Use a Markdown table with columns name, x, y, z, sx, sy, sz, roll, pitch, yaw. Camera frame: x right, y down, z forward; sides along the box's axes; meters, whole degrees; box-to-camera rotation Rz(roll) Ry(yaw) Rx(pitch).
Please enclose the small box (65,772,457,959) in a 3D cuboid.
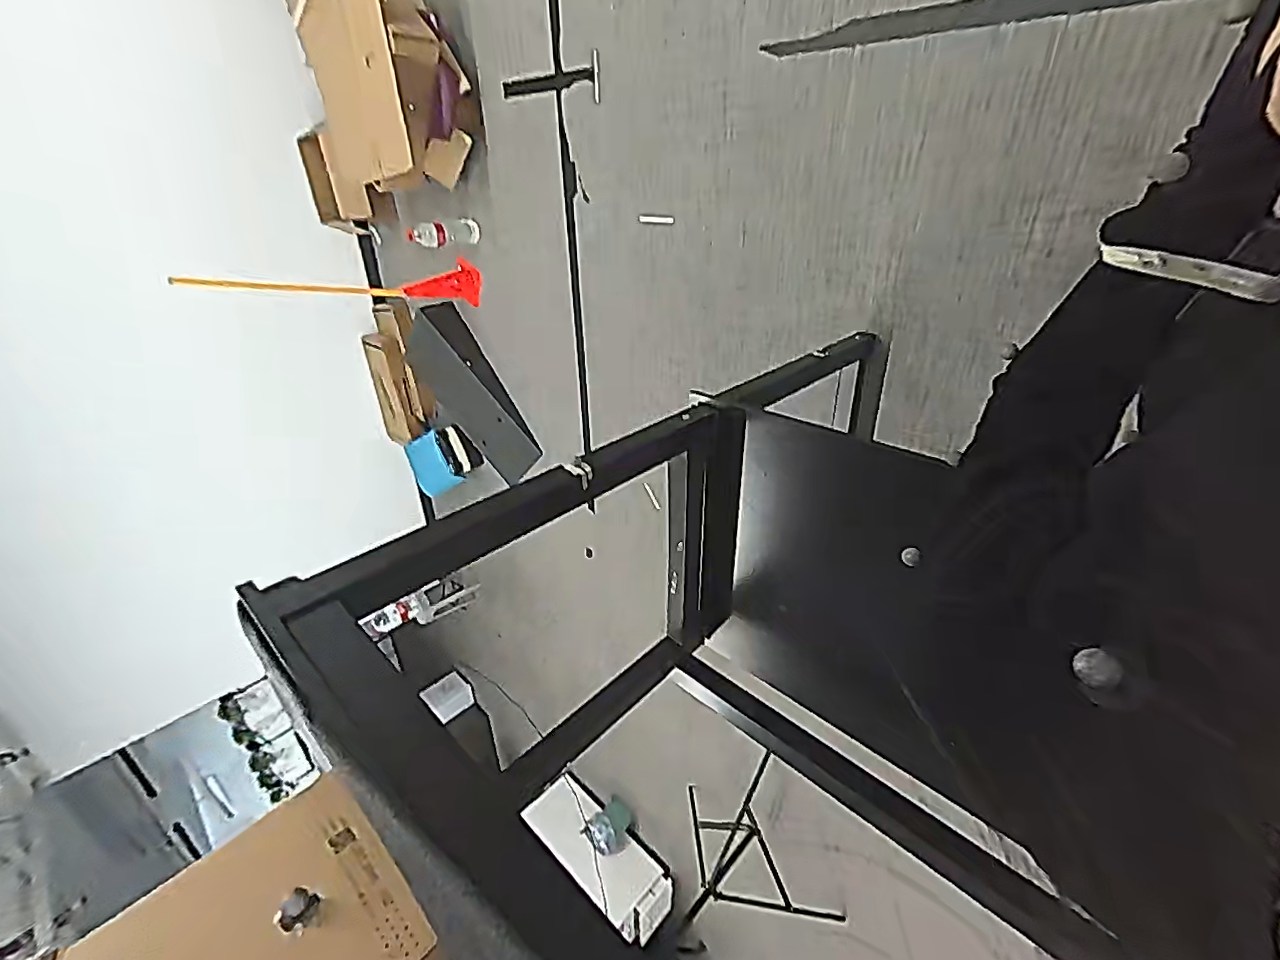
| name | x | y | z | sx | sy | sz | roll | pitch | yaw |
| --- | --- | --- | --- | --- | --- | --- | --- | --- | --- |
| small box | -0.234 | 0.356 | 0.375 | 0.168 | 0.176 | 0.179 | 24 | 129 | 36 |
